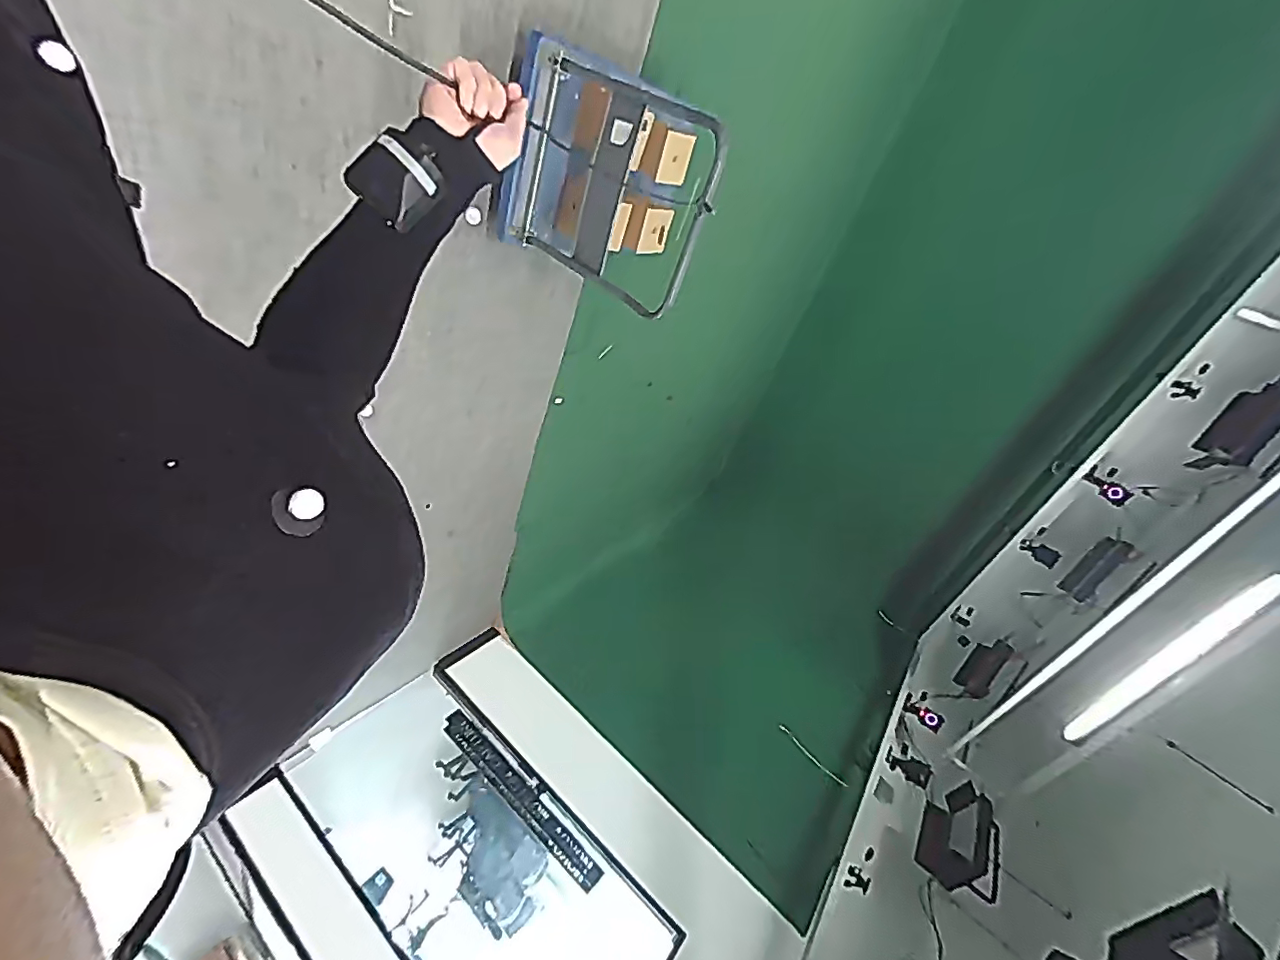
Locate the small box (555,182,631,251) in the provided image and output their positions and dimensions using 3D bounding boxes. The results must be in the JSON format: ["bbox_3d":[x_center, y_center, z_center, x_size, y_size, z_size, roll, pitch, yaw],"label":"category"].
[{"bbox_3d":[-0.167,-0.924,1.900,0.179,0.176,0.168,-23,143,-50],"label":"small box"}]

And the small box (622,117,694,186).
[{"bbox_3d":[0.062,-1.189,1.958,0.179,0.176,0.168,-28,148,-46],"label":"small box"}]

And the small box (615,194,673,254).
[{"bbox_3d":[-0.007,-0.997,2.104,0.179,0.176,0.168,-27,145,-46],"label":"small box"}]
